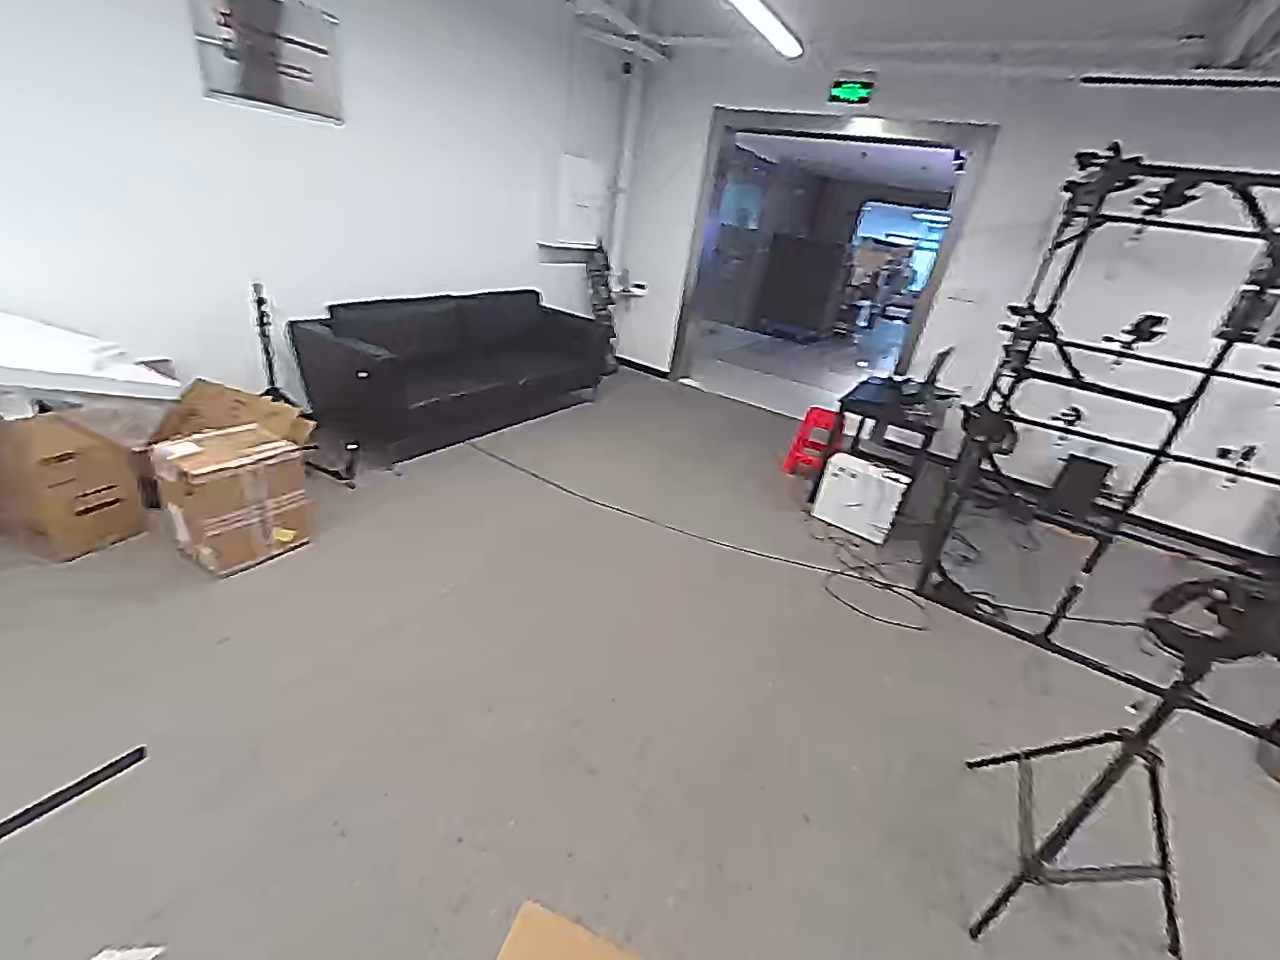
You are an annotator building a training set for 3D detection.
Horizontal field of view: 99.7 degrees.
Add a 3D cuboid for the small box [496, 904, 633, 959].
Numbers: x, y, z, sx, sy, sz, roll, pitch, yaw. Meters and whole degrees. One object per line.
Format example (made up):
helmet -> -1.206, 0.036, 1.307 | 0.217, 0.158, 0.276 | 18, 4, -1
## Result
small box -> -0.049, 0.478, 0.410 | 0.179, 0.176, 0.168 | 14, 37, 17
